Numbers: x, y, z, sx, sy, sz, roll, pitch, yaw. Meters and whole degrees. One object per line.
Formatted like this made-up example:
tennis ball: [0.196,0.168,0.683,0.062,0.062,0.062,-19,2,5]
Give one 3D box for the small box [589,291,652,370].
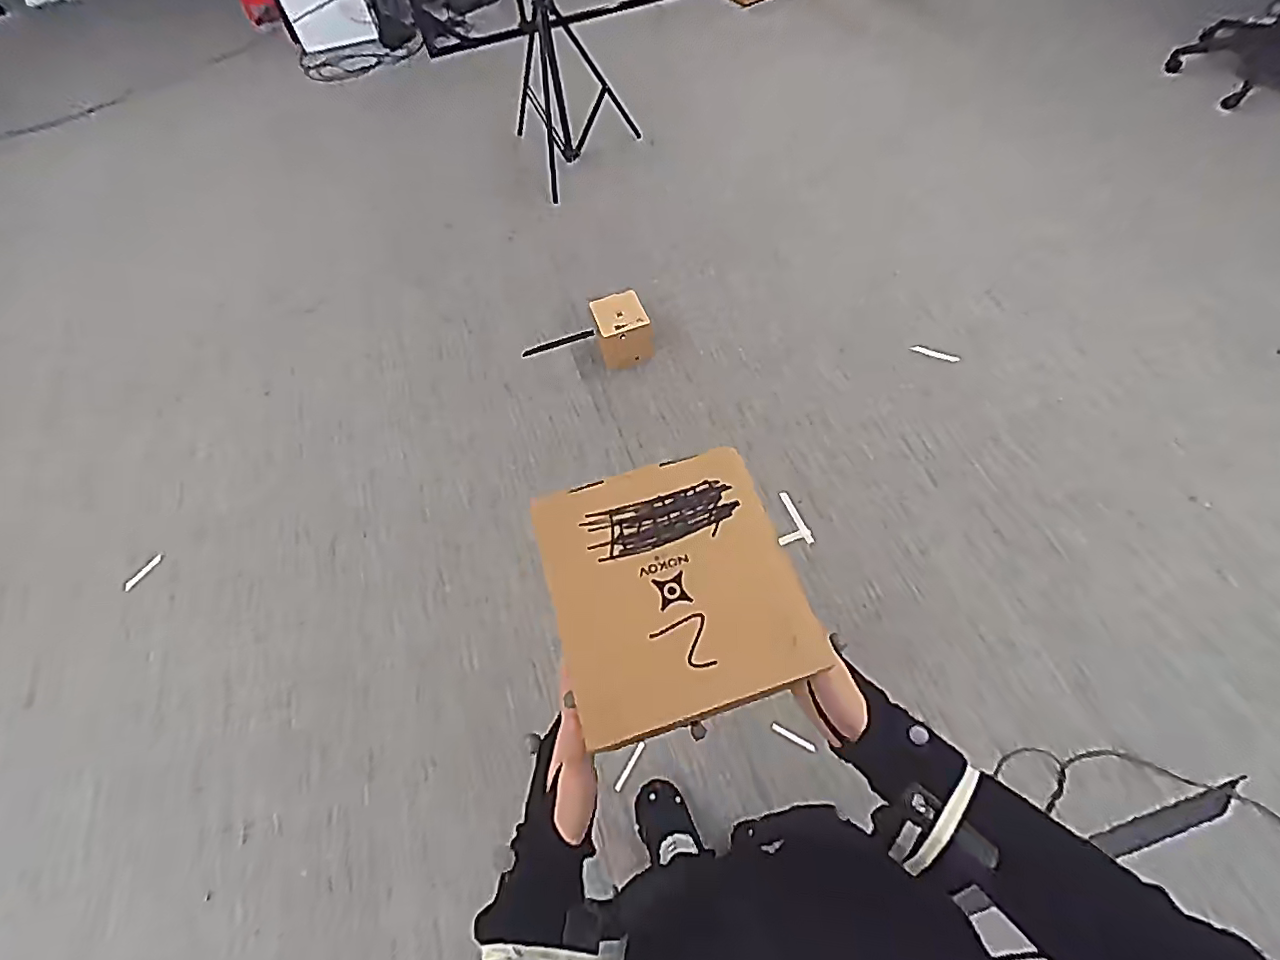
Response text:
small box: [-0.065,-0.515,1.868,0.168,0.176,0.179,-19,60,-6]
